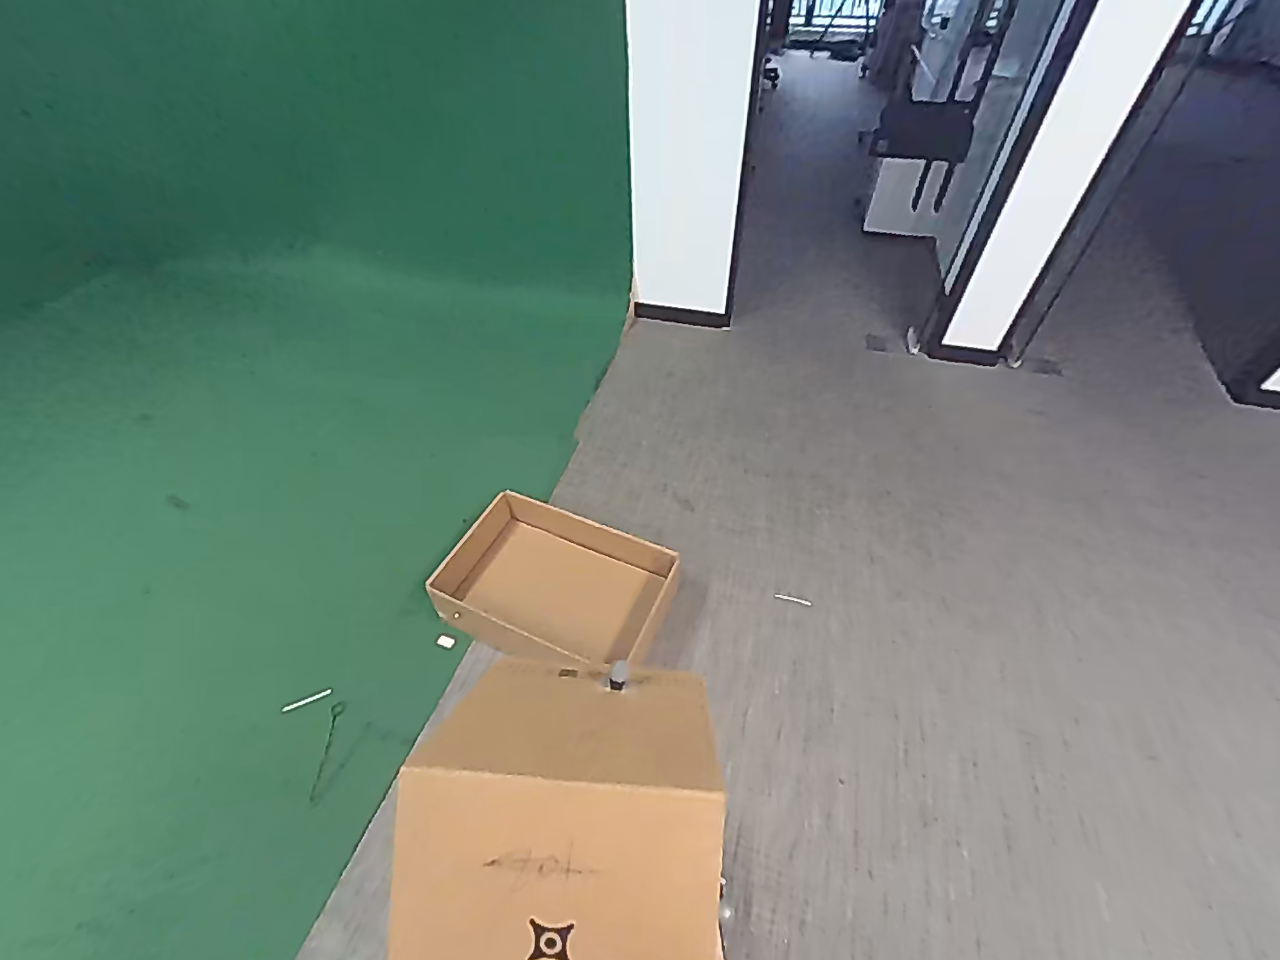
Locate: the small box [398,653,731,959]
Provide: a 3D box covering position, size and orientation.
[{"bbox_3d":[-0.038,0.233,0.355,0.168,0.176,0.179,4,91,2],"label":"small box"}]
